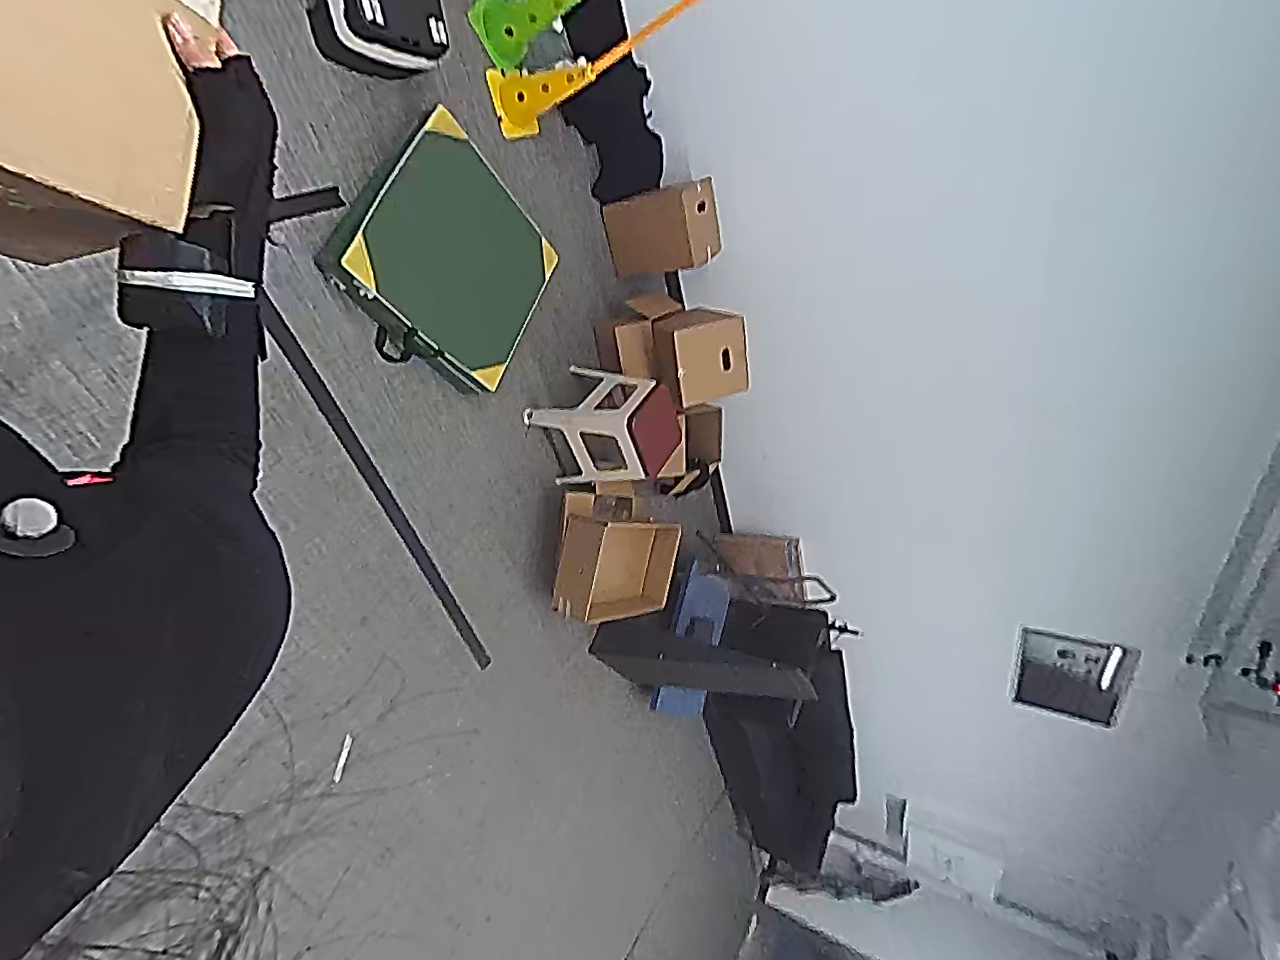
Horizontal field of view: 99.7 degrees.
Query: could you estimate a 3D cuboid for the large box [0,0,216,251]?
[{"bbox_3d":[-0.529,-0.365,0.285,0.408,0.320,0.320,9,90,-61],"label":"large box"}]
